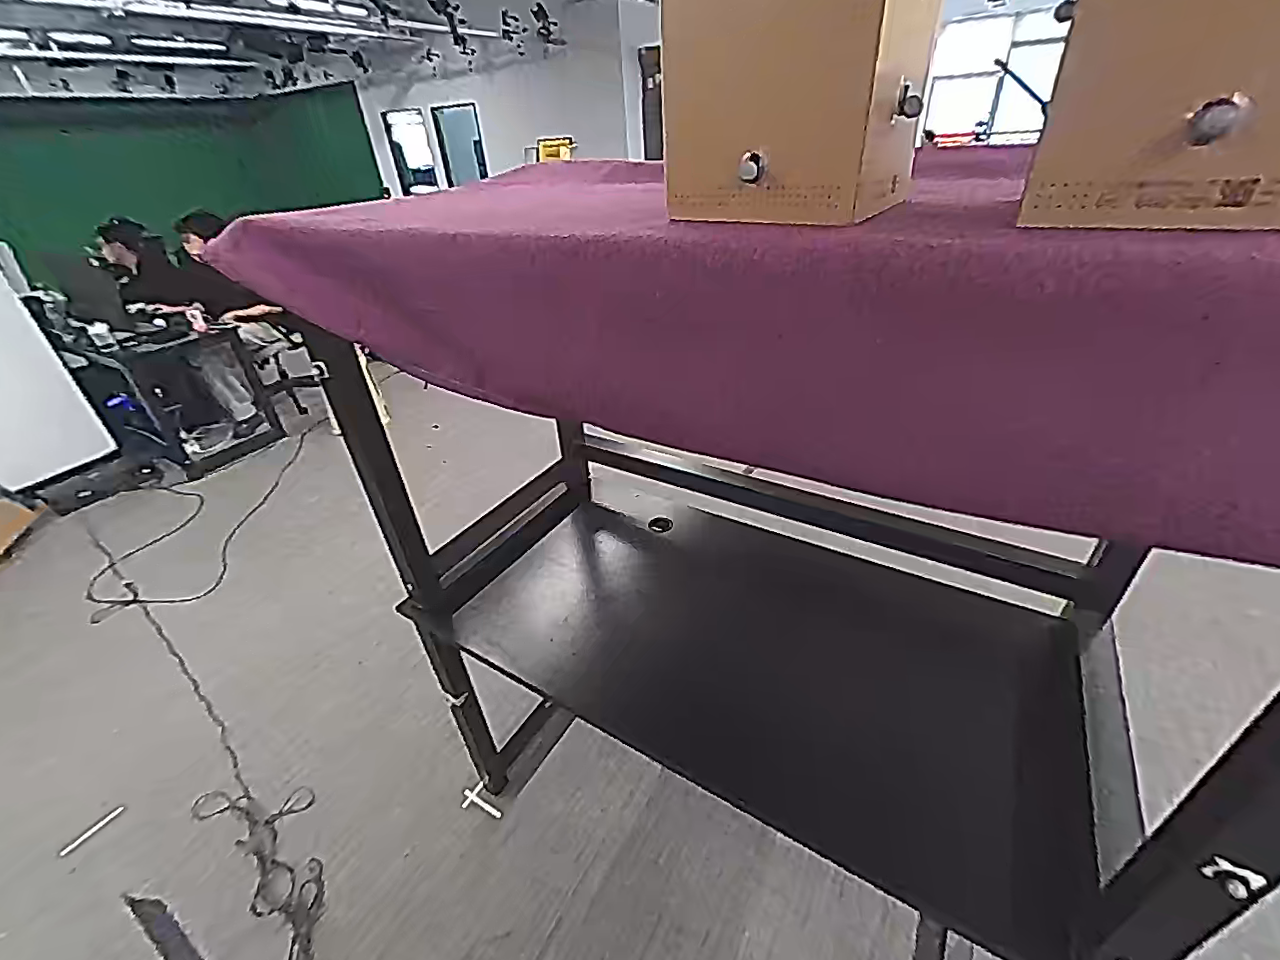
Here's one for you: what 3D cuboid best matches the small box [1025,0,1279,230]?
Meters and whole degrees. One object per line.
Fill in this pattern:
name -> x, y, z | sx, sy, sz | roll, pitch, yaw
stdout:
small box -> 0.366, -0.262, 0.338 | 0.168, 0.176, 0.179 | 17, 38, 31

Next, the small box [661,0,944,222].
small box -> 0.135, -0.323, 0.464 | 0.179, 0.176, 0.168 | 19, 38, 30
